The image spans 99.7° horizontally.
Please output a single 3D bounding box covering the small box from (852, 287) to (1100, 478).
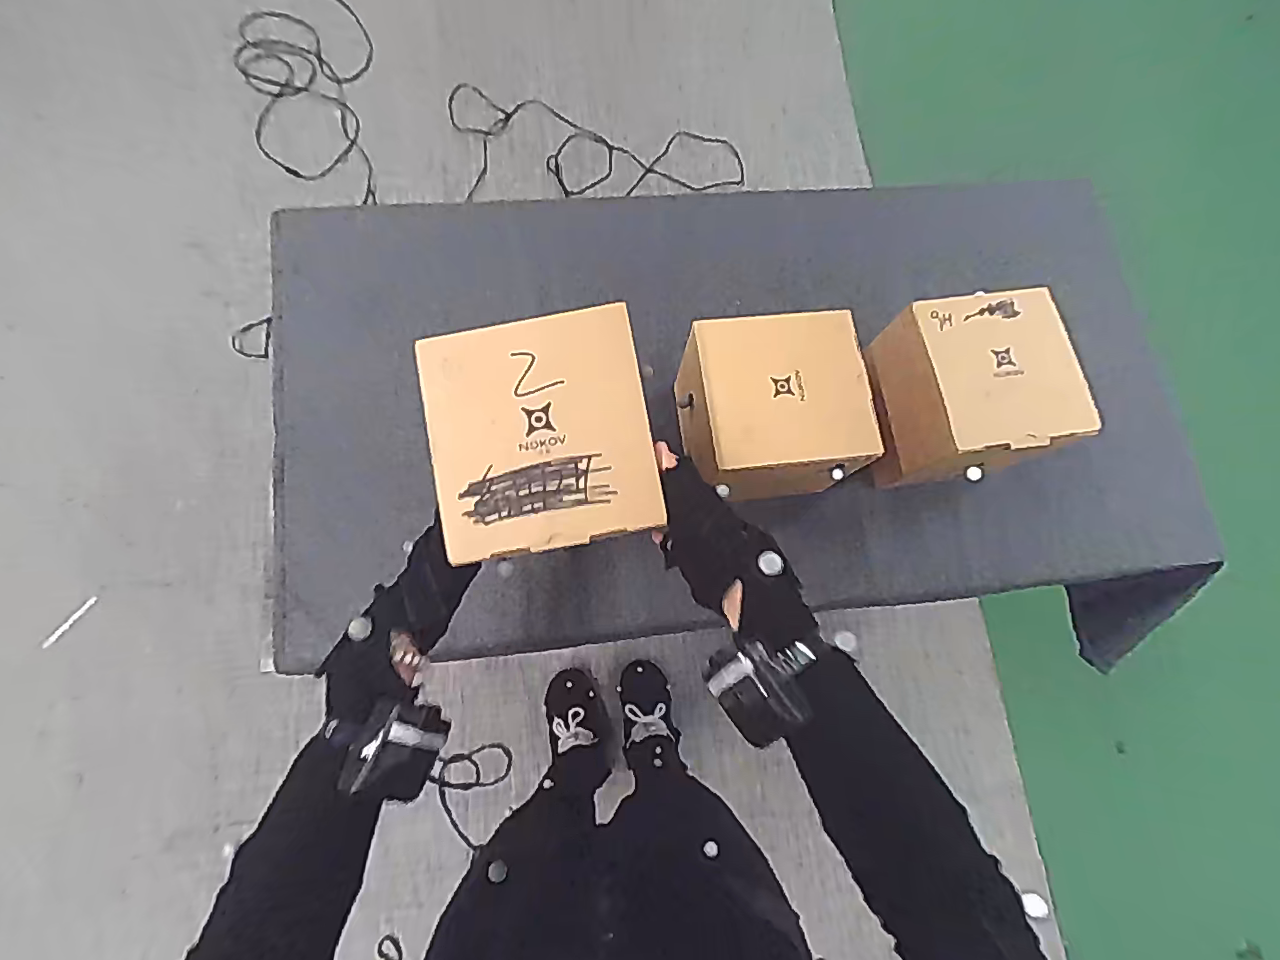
[{"bbox_3d":[0.383,-0.104,0.652,0.168,0.176,0.179,-7,77,-7],"label":"small box"}]
